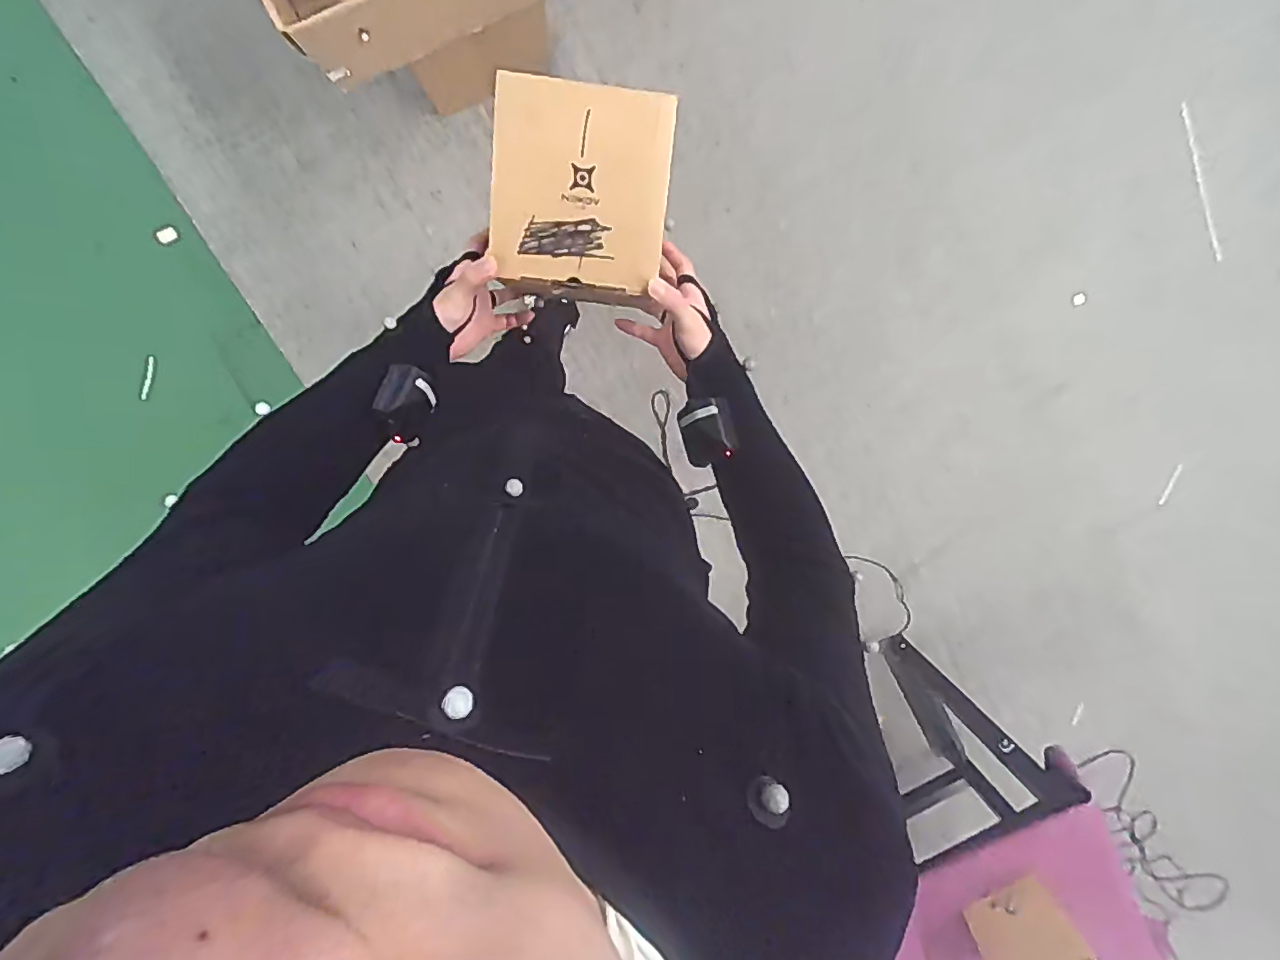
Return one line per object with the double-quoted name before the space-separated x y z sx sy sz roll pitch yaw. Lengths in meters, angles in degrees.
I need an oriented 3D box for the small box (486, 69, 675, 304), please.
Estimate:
"small box" -0.060 -0.293 0.583 0.168 0.176 0.179 6 102 -4
